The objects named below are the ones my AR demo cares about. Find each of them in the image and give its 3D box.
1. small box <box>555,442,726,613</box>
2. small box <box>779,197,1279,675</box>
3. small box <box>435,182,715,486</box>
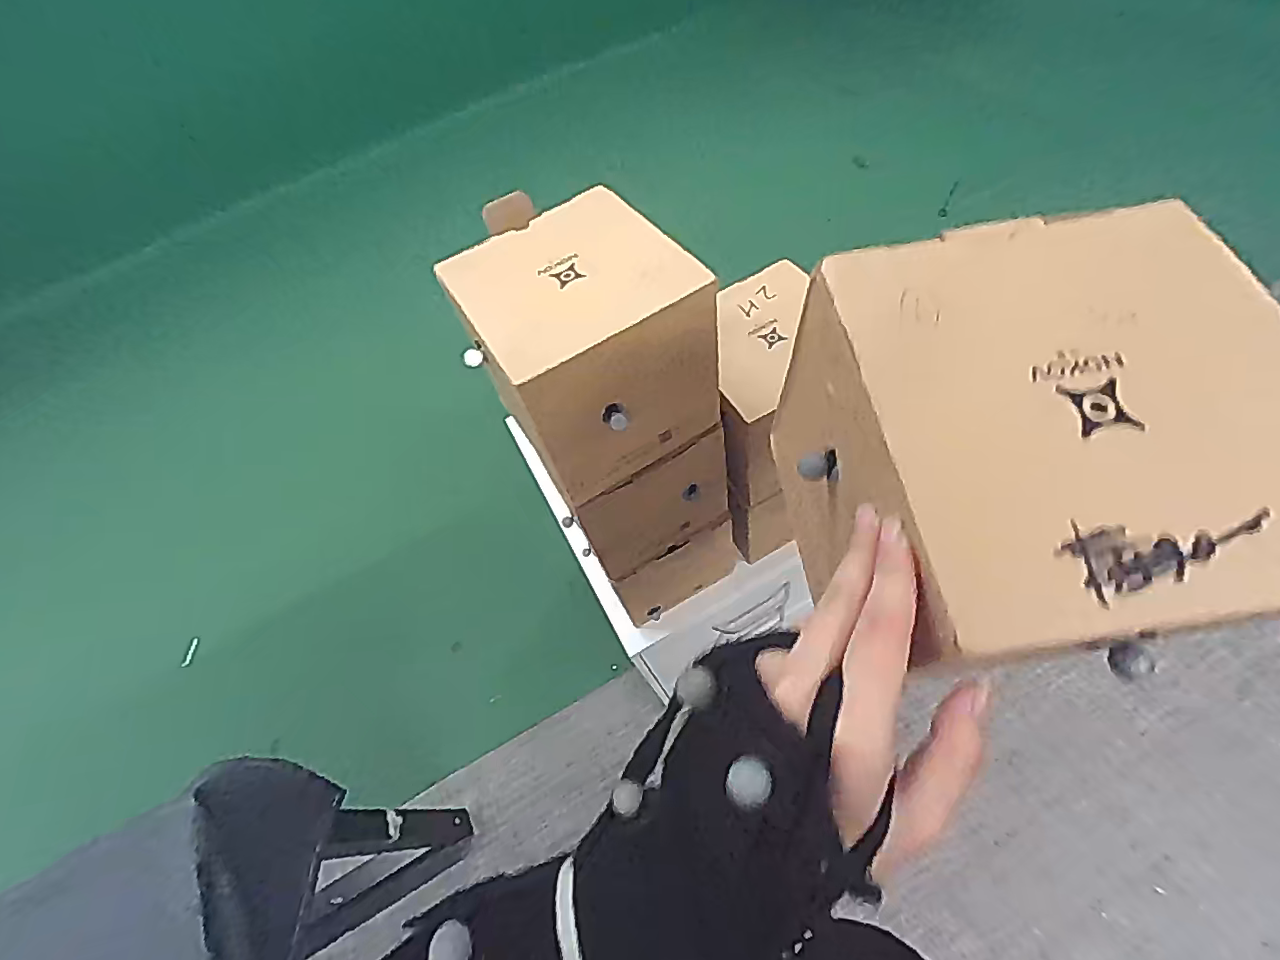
[{"bbox_3d":[0.008,0.063,0.744,0.168,0.176,0.179,-28,57,-8],"label":"small box"},{"bbox_3d":[0.180,-0.007,0.282,0.168,0.176,0.179,-8,65,1],"label":"small box"},{"bbox_3d":[-0.045,-0.117,0.479,0.168,0.176,0.179,-30,57,-11],"label":"small box"}]
